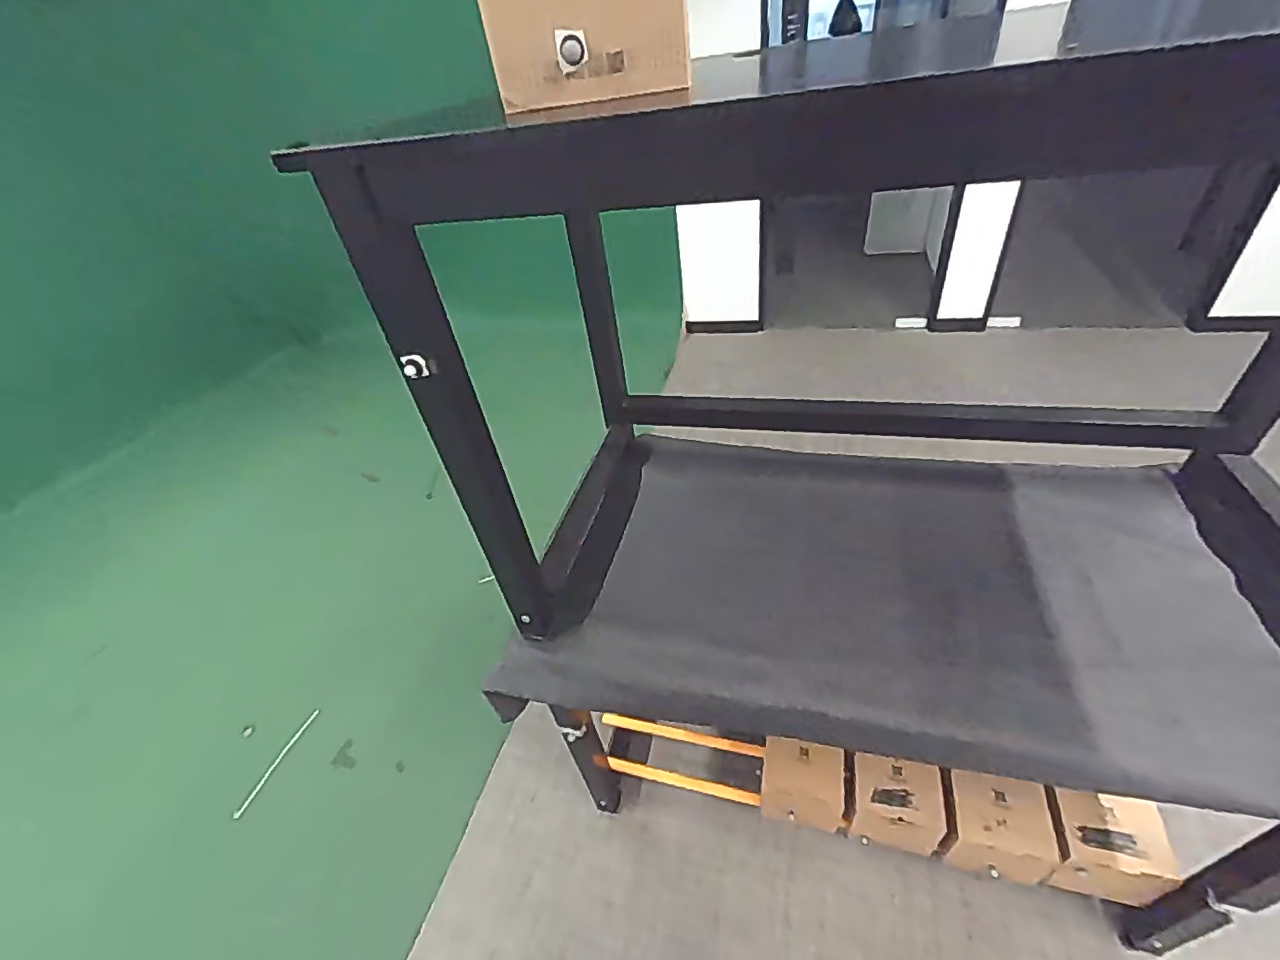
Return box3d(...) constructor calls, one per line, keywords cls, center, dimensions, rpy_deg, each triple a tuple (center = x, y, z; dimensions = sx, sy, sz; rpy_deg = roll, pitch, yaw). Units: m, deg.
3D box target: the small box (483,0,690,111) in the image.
box3d(cls="small box", center=(-0.045, -0.446, 0.484), dimensions=(0.168, 0.176, 0.179), rpy_deg=(-4, 40, 8))
